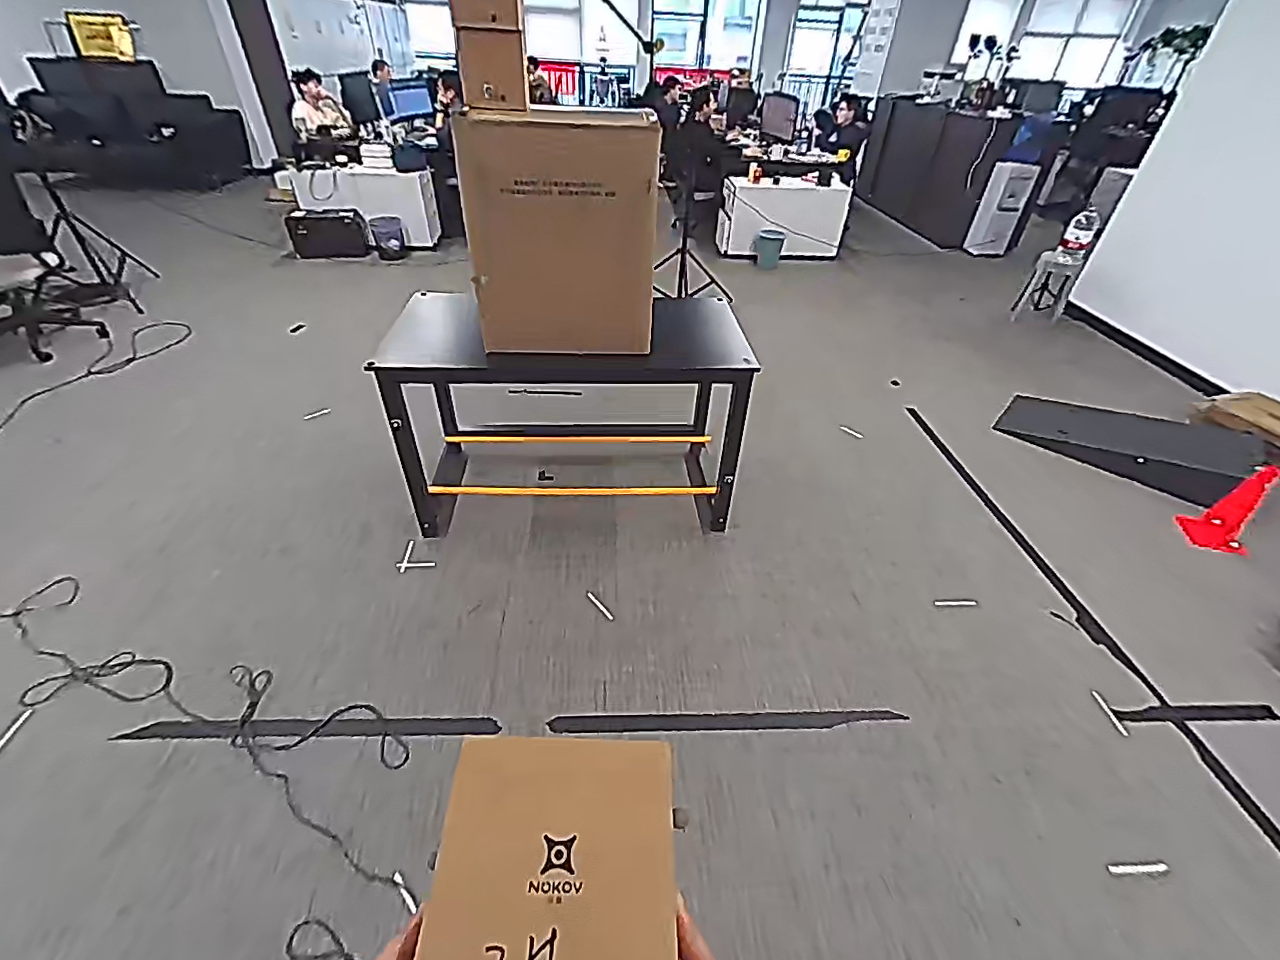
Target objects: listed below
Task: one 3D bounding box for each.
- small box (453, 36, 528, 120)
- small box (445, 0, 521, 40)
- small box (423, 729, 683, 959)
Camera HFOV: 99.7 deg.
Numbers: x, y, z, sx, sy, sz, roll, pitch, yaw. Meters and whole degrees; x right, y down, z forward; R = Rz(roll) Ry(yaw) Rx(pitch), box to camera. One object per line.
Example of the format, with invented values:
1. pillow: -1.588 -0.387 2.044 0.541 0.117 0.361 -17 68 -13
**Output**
1. small box: -0.394 -1.081 1.454 0.168 0.176 0.179 -4 39 -7
2. small box: -0.389 -1.200 1.341 0.168 0.176 0.179 -2 39 -6
3. small box: -0.059 0.323 0.432 0.168 0.176 0.179 2 44 -3
